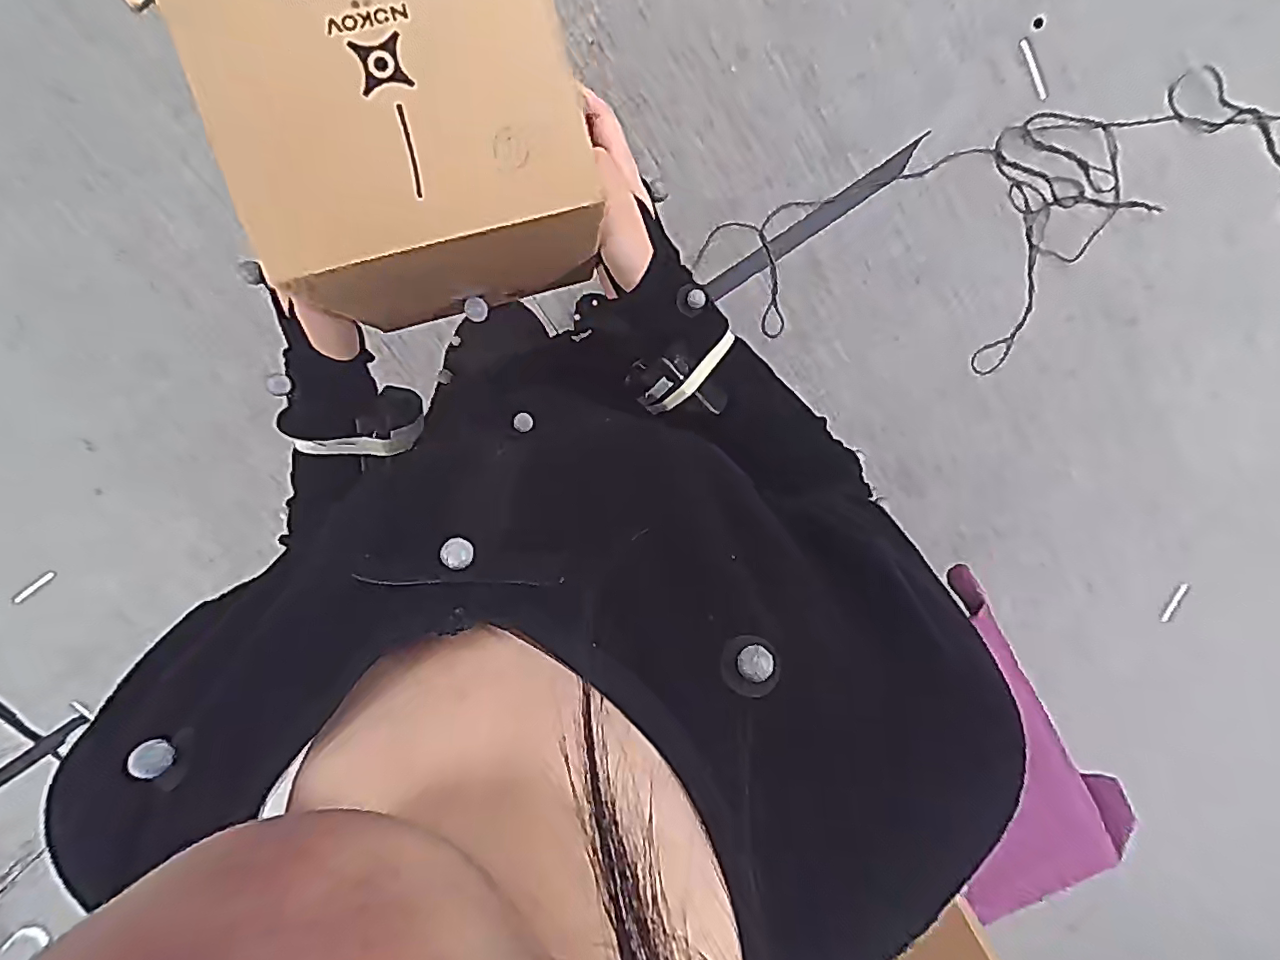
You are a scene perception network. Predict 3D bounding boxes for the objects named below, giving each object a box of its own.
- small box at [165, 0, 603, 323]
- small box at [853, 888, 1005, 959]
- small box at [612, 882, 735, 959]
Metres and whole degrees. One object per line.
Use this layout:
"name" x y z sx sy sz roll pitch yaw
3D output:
"small box" -0.127 -0.208 0.319 0.168 0.176 0.179 -16 100 -5
"small box" 0.424 0.704 0.725 0.168 0.176 0.179 -36 106 8
"small box" 0.061 0.842 0.923 0.179 0.176 0.168 -31 105 8
